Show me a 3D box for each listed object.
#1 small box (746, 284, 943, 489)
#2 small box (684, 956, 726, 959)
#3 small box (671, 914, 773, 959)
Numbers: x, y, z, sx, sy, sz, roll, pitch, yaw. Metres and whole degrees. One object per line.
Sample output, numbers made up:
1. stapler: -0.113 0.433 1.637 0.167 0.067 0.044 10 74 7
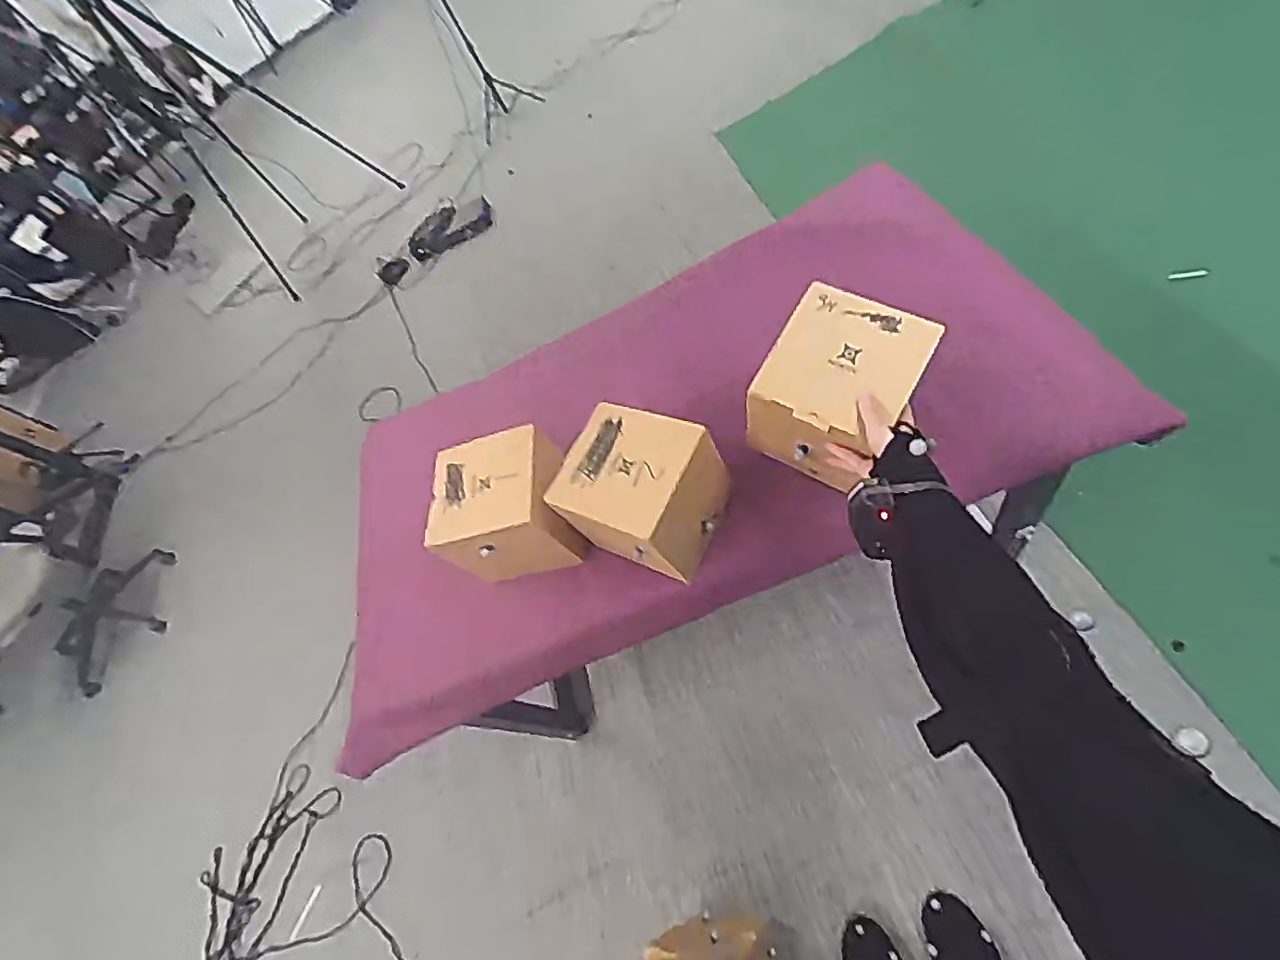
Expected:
1. small box: 0.252 -0.111 0.707 0.168 0.176 0.179 29 78 17
2. small box: 0.048 0.824 0.788 0.179 0.176 0.168 -19 55 15
3. small box: 0.167 0.972 1.054 0.168 0.176 0.179 -13 59 18
